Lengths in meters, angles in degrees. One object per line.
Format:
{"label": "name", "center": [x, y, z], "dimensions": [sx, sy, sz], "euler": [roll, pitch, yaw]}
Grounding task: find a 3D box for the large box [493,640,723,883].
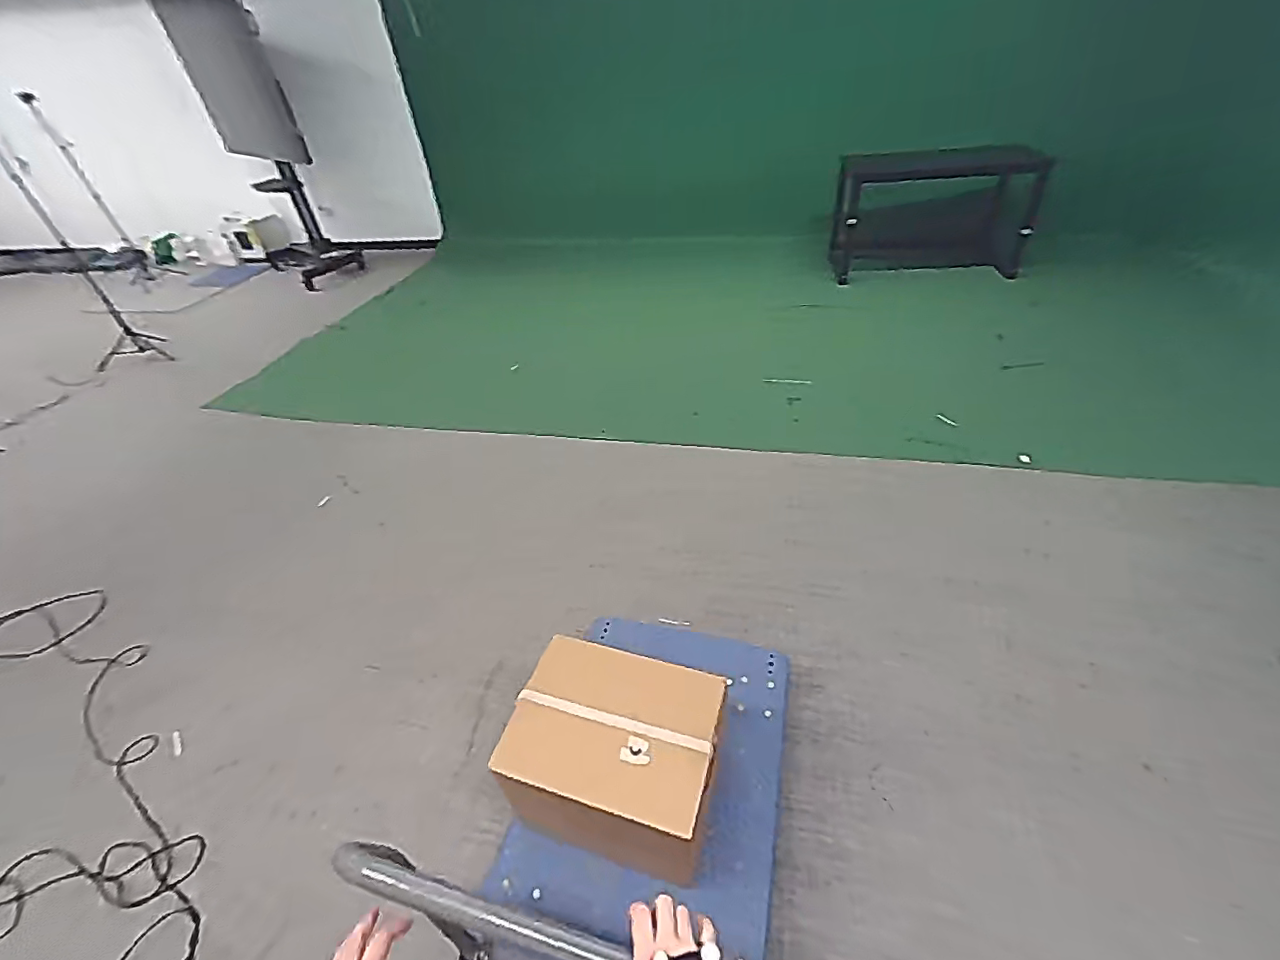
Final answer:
{"label": "large box", "center": [-0.049, 0.608, 1.195], "dimensions": [0.408, 0.320, 0.320], "euler": [10, 42, 15]}
